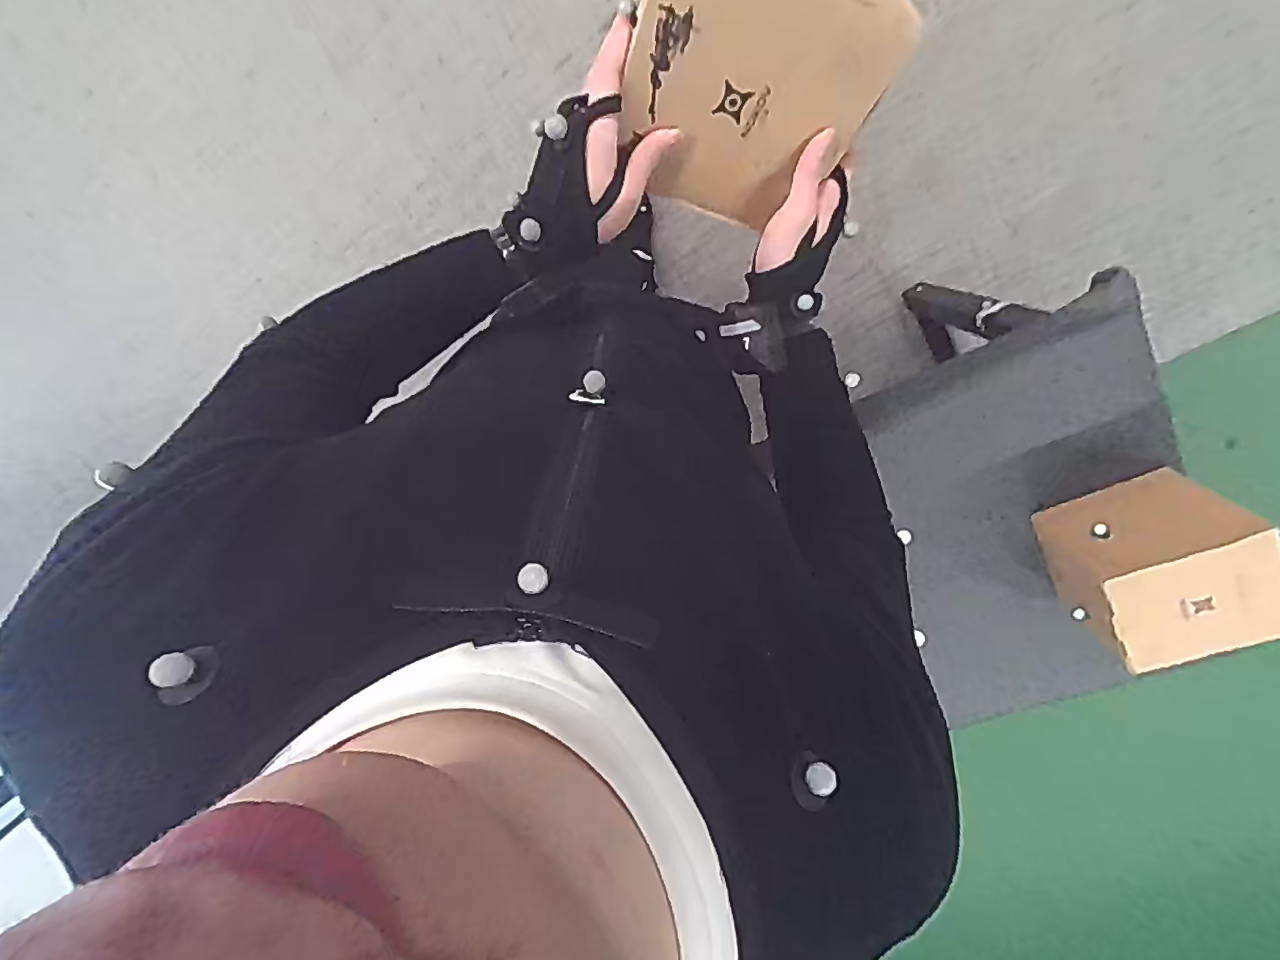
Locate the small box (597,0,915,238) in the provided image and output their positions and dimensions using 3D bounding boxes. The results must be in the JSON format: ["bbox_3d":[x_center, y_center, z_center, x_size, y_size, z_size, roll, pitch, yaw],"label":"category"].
[{"bbox_3d":[0.074,-0.337,0.432,0.179,0.176,0.168,11,148,-18],"label":"small box"}]

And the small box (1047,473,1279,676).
[{"bbox_3d":[0.676,0.119,0.710,0.179,0.176,0.168,-24,112,18],"label":"small box"}]
